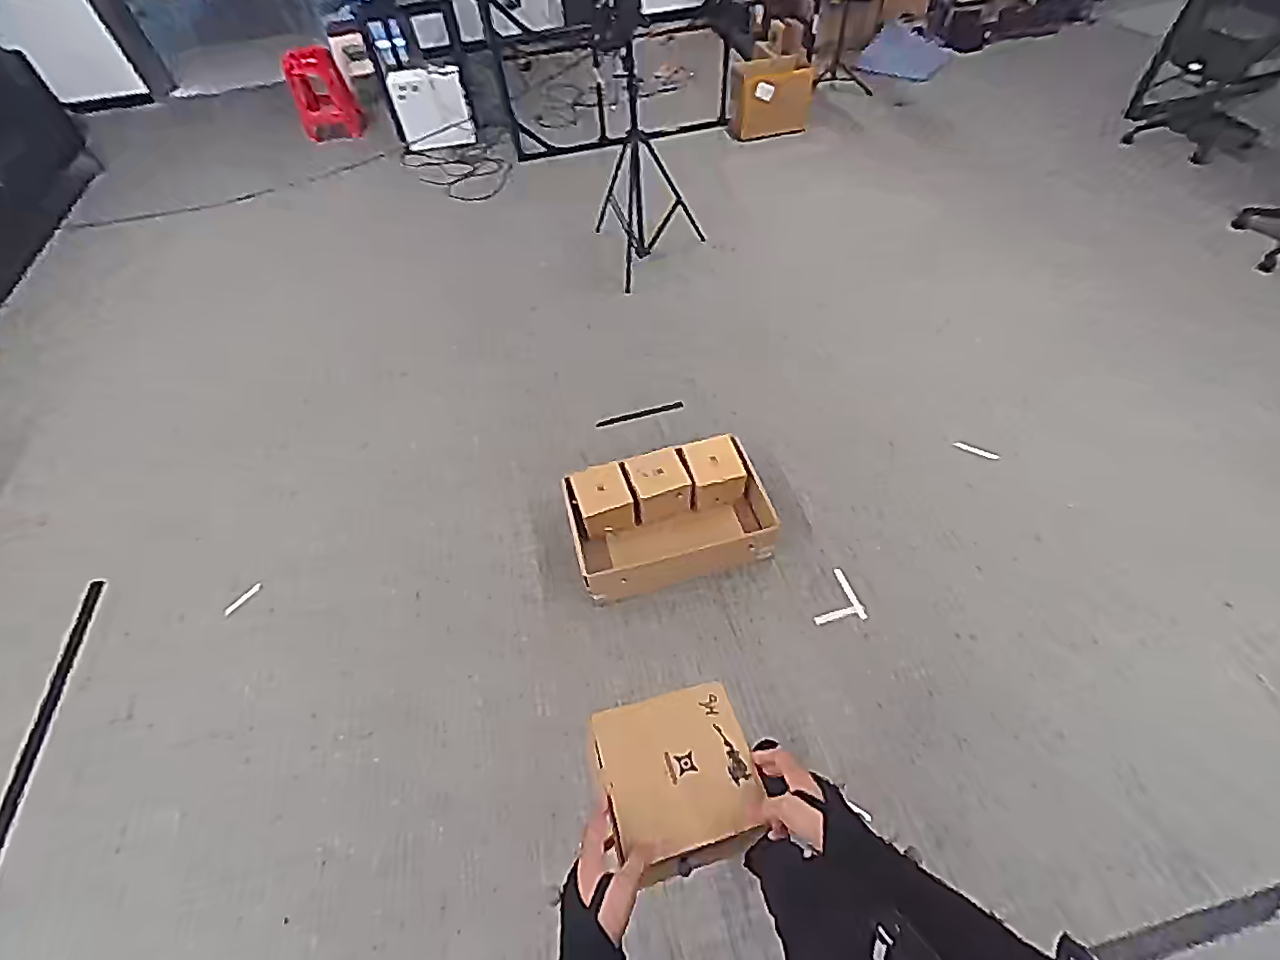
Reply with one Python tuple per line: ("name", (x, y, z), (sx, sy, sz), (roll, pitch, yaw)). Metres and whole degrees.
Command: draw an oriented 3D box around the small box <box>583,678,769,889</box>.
("small box", (0.033, 0.379, 0.674), (0.179, 0.176, 0.168), (-10, 48, -15))
